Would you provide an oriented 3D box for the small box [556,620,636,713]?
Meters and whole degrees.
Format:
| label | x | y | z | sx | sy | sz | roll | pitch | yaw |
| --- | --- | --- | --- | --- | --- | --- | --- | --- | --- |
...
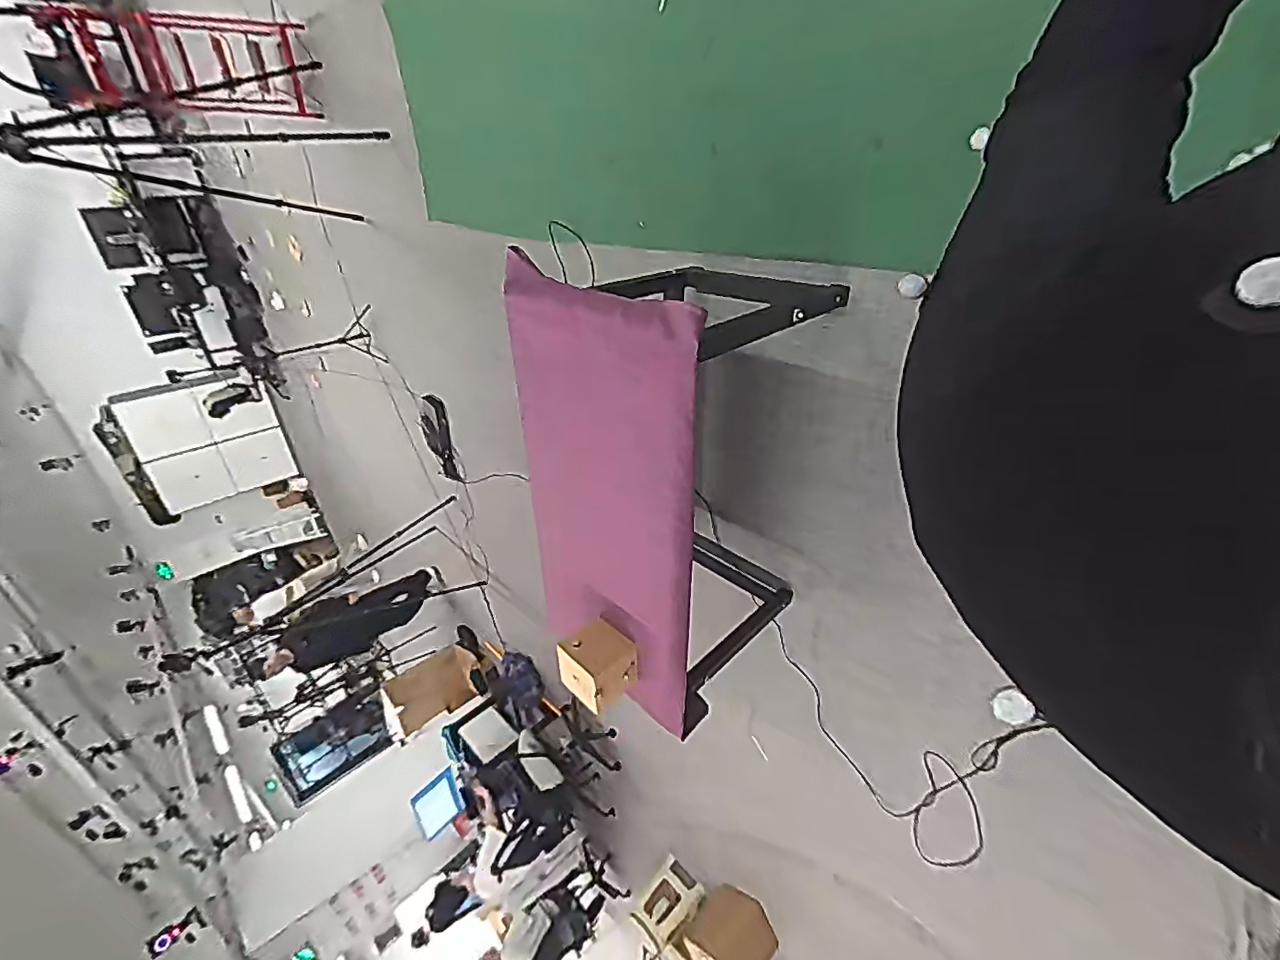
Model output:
| label | x | y | z | sx | sy | sz | roll | pitch | yaw |
| --- | --- | --- | --- | --- | --- | --- | --- | --- | --- |
| small box | -0.131 | 0.552 | 1.632 | 0.179 | 0.176 | 0.168 | 27 | 131 | 38 |
